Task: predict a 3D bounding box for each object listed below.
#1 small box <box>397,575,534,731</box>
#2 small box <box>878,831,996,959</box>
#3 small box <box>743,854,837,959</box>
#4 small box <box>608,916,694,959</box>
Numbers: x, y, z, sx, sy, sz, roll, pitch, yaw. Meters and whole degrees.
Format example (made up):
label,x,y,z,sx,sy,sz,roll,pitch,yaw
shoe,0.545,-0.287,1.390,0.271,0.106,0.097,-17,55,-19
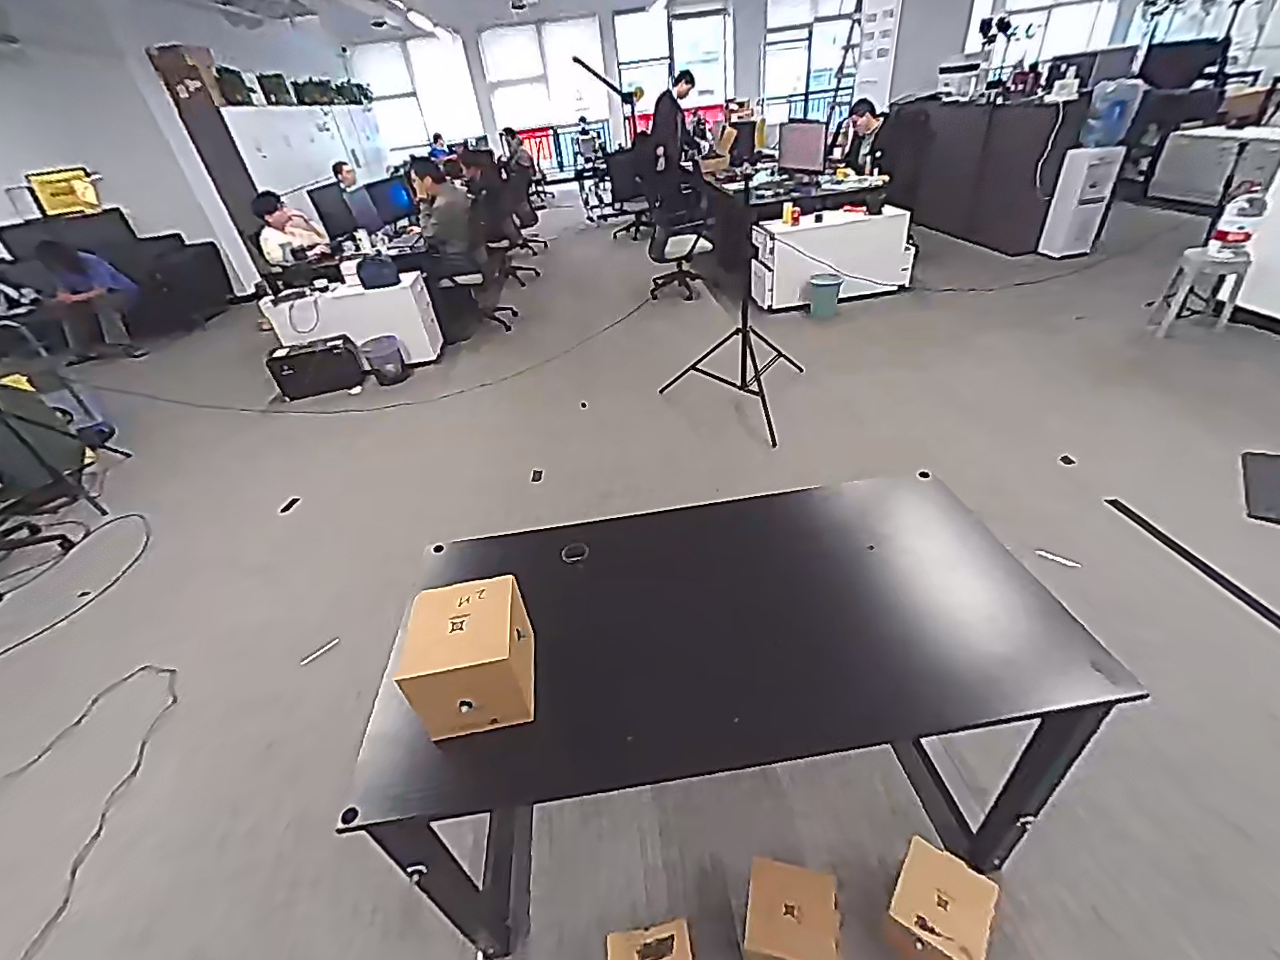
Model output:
label,x,y,z,sx,sy,sz,roll,pitch,yaw
small box,-0.274,0.289,0.892,0.168,0.176,0.179,-10,35,-4
small box,0.616,0.898,1.133,0.168,0.176,0.179,19,44,33
small box,0.316,0.935,1.145,0.179,0.176,0.168,2,36,16
small box,0.033,1.018,1.082,0.168,0.176,0.179,-10,37,-2
